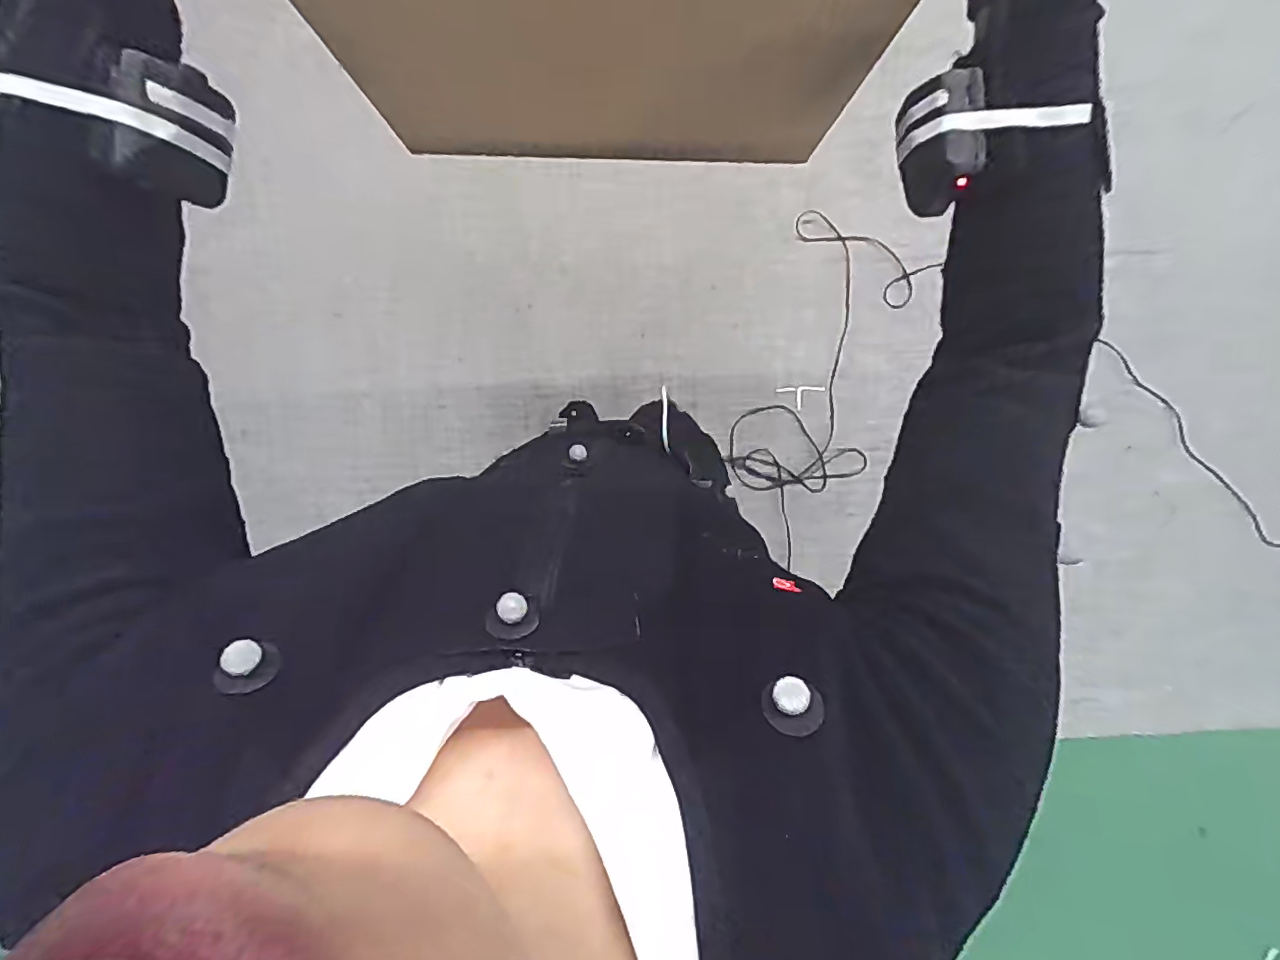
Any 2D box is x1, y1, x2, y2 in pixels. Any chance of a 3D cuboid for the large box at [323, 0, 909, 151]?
[{"bbox_3d":[-0.019,-0.471,0.385,0.408,0.320,0.320,0,97,-3],"label":"large box"}]
